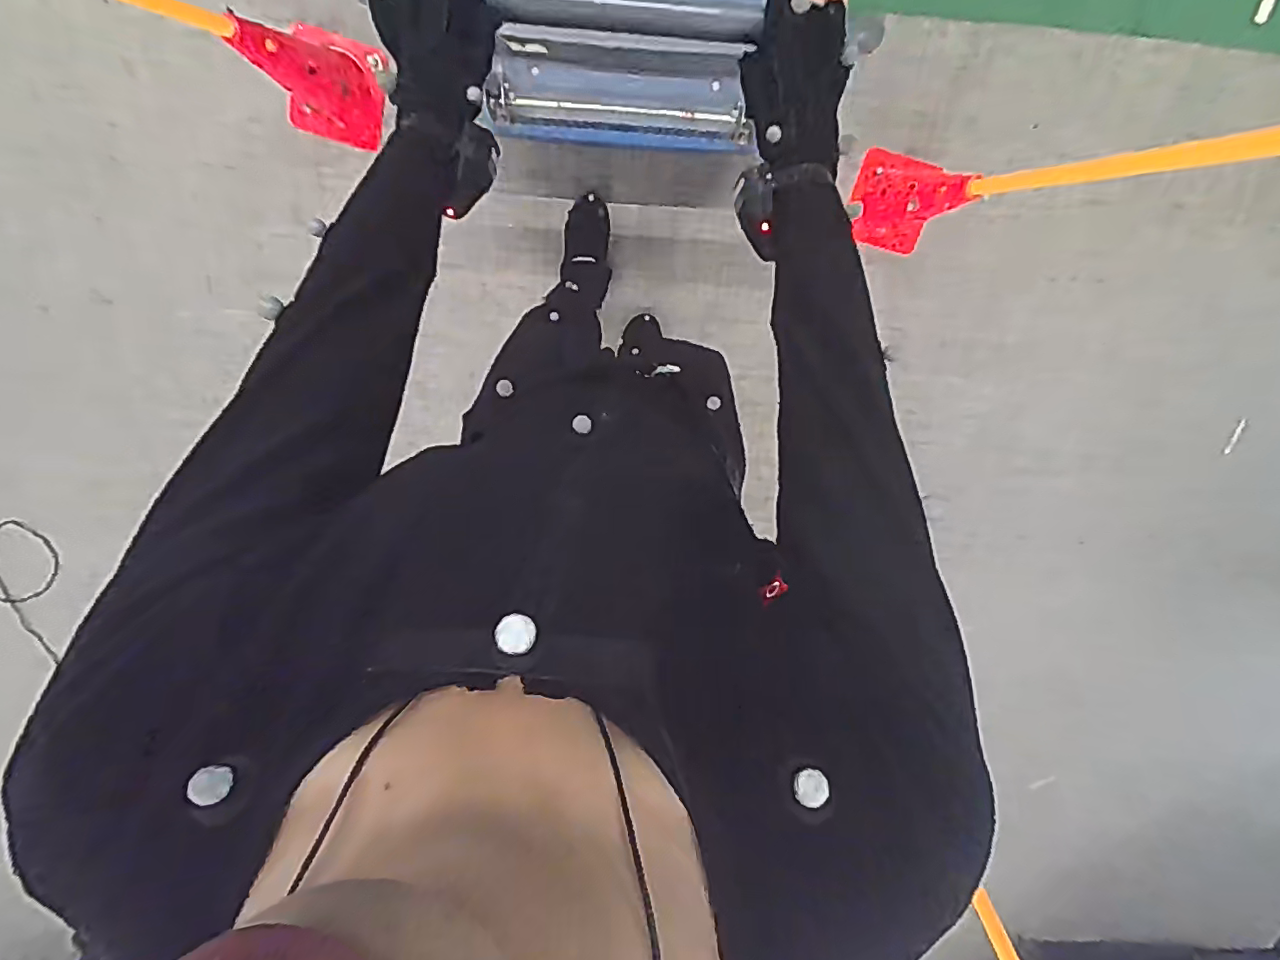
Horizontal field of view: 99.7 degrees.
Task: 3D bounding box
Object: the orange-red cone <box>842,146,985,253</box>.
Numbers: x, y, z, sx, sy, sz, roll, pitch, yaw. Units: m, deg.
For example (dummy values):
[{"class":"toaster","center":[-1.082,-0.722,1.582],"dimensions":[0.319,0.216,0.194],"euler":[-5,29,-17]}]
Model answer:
[{"class":"orange-red cone","center":[0.603,-0.597,1.132],"dimensions":[0.198,0.360,0.199],"euler":[14,113,-6]}]
